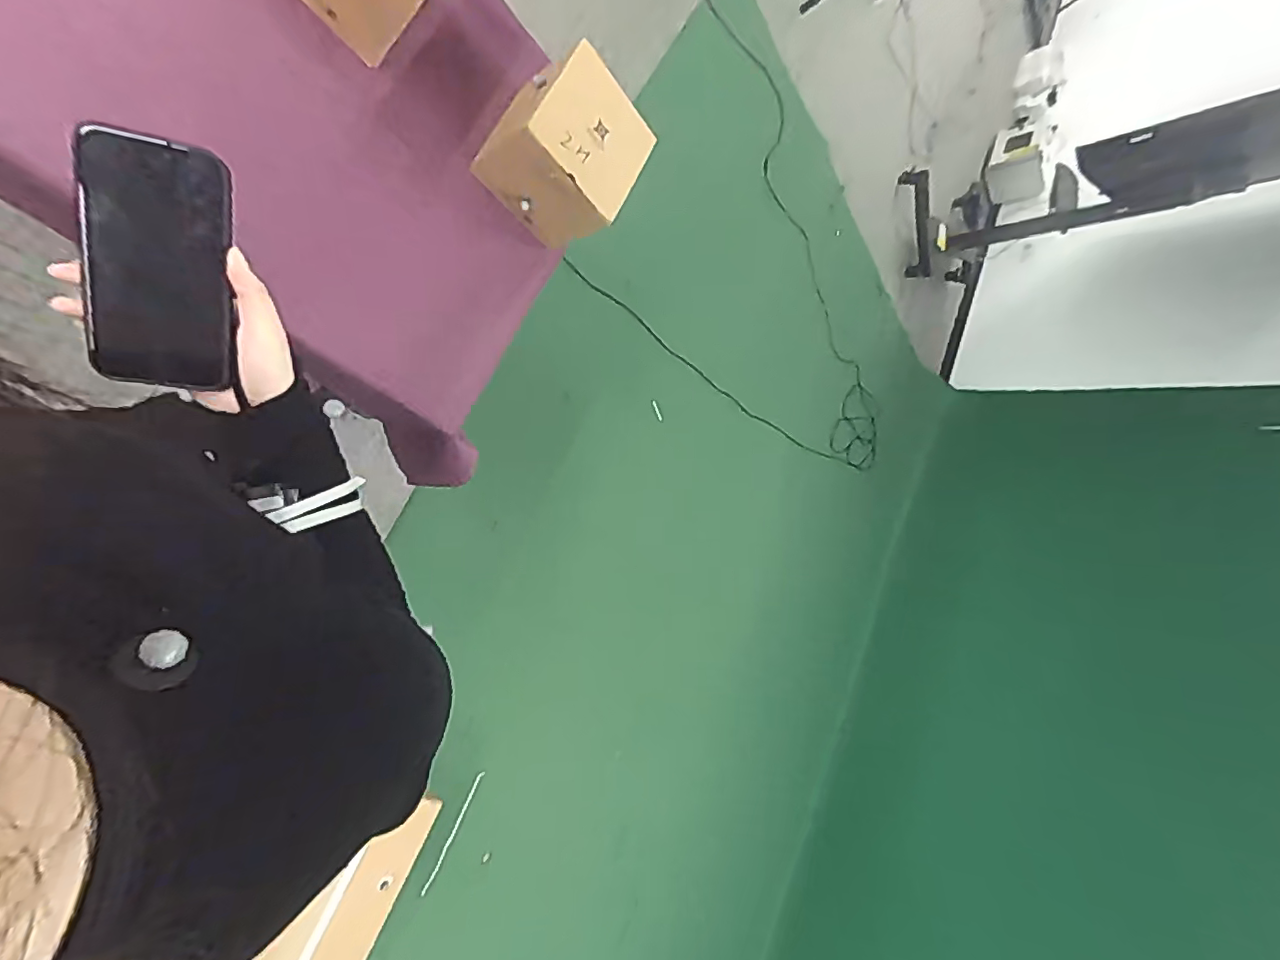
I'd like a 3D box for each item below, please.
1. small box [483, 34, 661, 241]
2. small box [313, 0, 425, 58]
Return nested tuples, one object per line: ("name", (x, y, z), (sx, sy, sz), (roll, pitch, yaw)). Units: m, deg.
("small box", (-0.105, -0.496, 0.811), (0.168, 0.176, 0.179), (37, 72, -38))
("small box", (-0.305, -0.645, 0.612), (0.168, 0.176, 0.179), (34, 74, -40))
